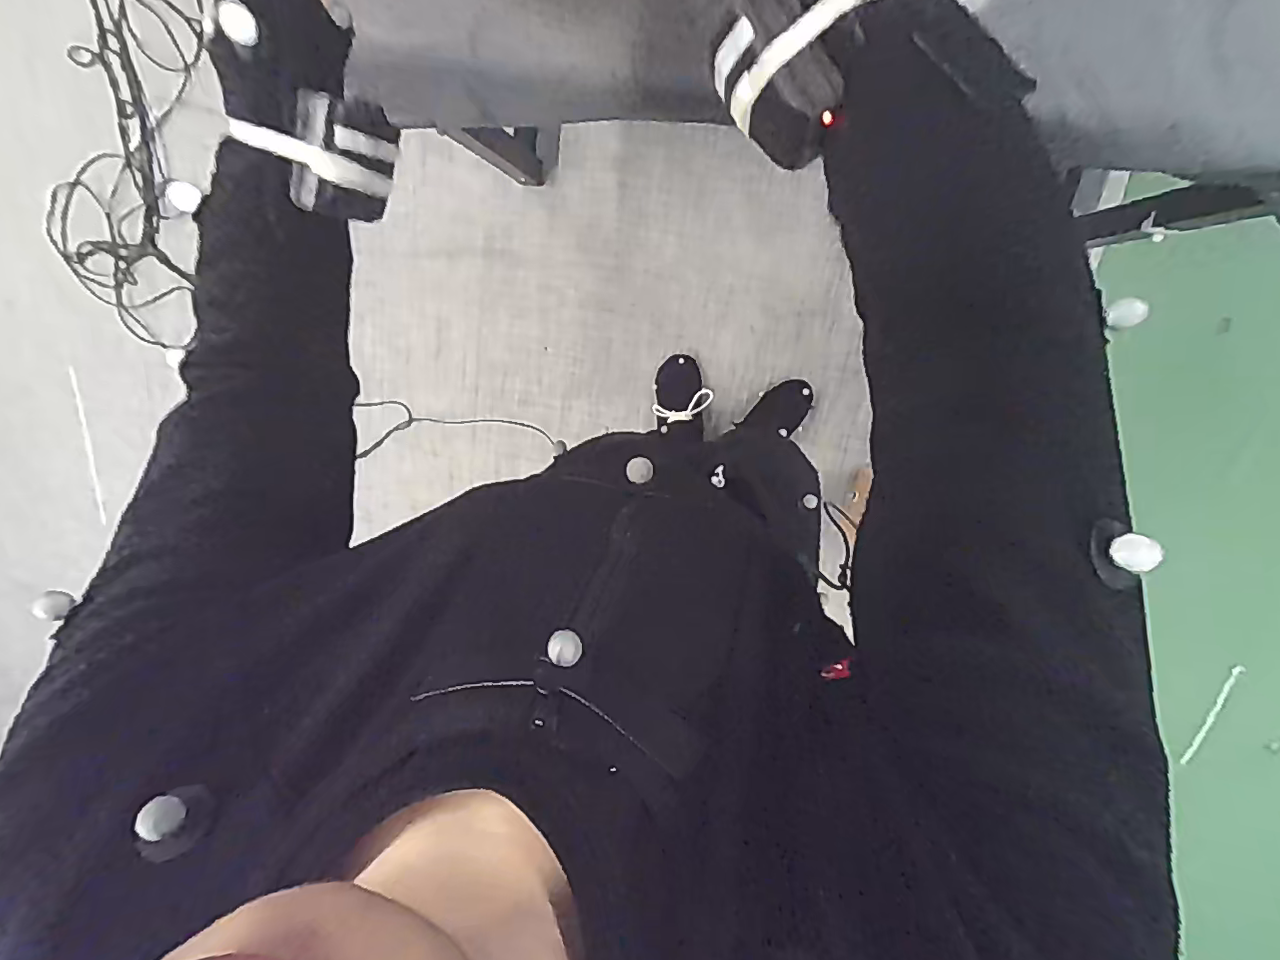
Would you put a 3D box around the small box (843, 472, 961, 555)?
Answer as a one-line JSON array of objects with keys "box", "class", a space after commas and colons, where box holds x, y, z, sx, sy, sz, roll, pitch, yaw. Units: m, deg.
[{"box": [0.594, 0.092, 1.254, 0.179, 0.176, 0.168, 15, 107, 5], "class": "small box"}]
